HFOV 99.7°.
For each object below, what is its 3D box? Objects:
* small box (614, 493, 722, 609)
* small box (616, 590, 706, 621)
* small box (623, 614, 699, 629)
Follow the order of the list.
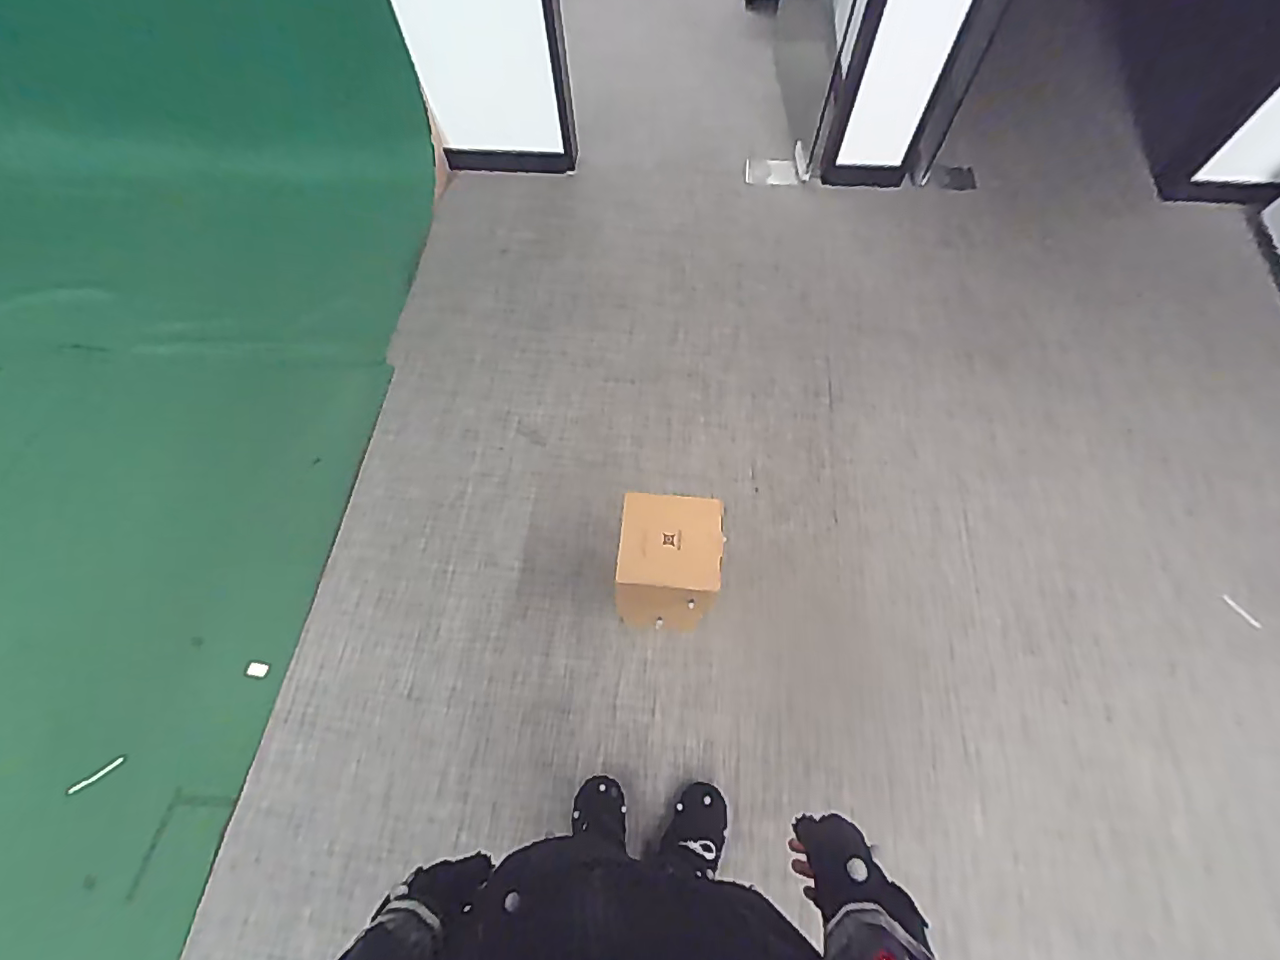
[{"bbox_3d":[0.053,0.136,0.994,0.179,0.176,0.168,3,64,4],"label":"small box"},{"bbox_3d":[0.049,0.201,1.146,0.179,0.176,0.168,3,67,4],"label":"small box"},{"bbox_3d":[0.055,0.257,1.296,0.179,0.176,0.168,4,65,5],"label":"small box"}]
